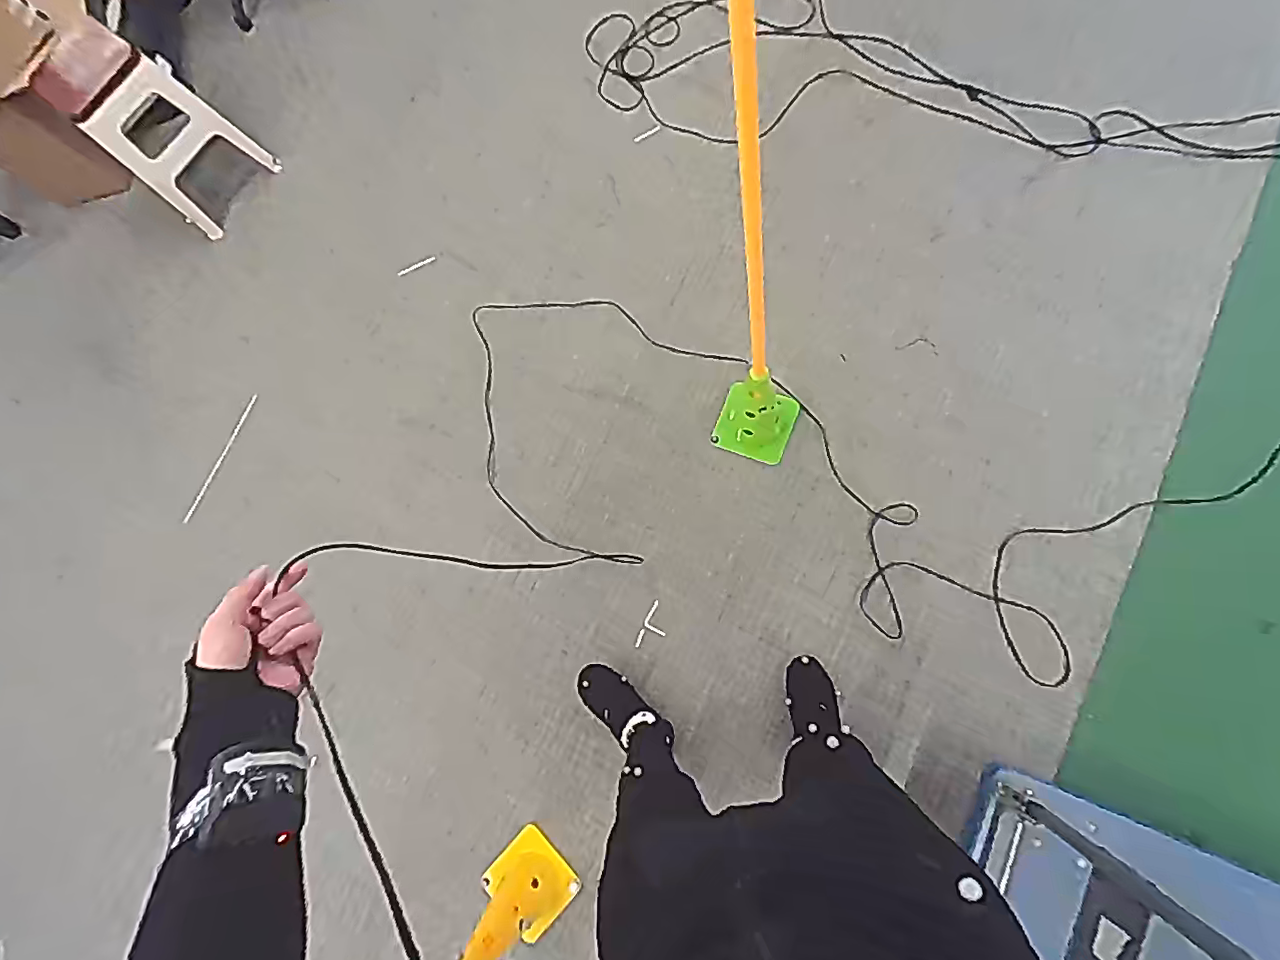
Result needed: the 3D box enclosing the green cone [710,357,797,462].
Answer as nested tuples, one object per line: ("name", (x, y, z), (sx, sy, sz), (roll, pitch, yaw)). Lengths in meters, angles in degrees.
("green cone", (0.286, -0.202, 1.339), (0.200, 0.368, 0.202), (20, 81, 14))
